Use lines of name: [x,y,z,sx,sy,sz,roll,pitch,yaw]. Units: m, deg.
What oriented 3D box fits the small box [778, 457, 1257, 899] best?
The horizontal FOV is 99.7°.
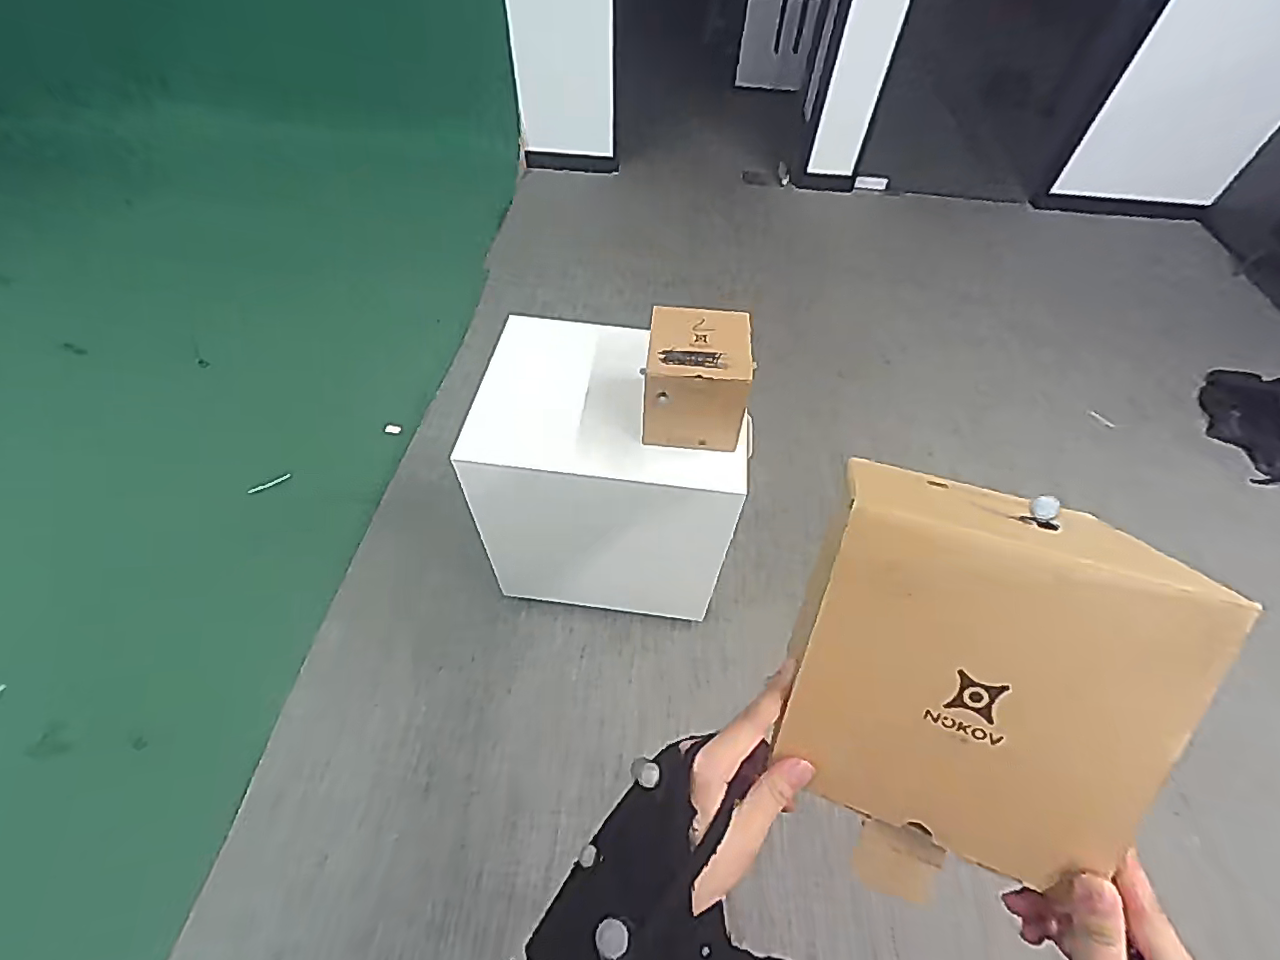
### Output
small box: [0.197,0.093,0.344,0.168,0.179,0.176,16,16,17]
